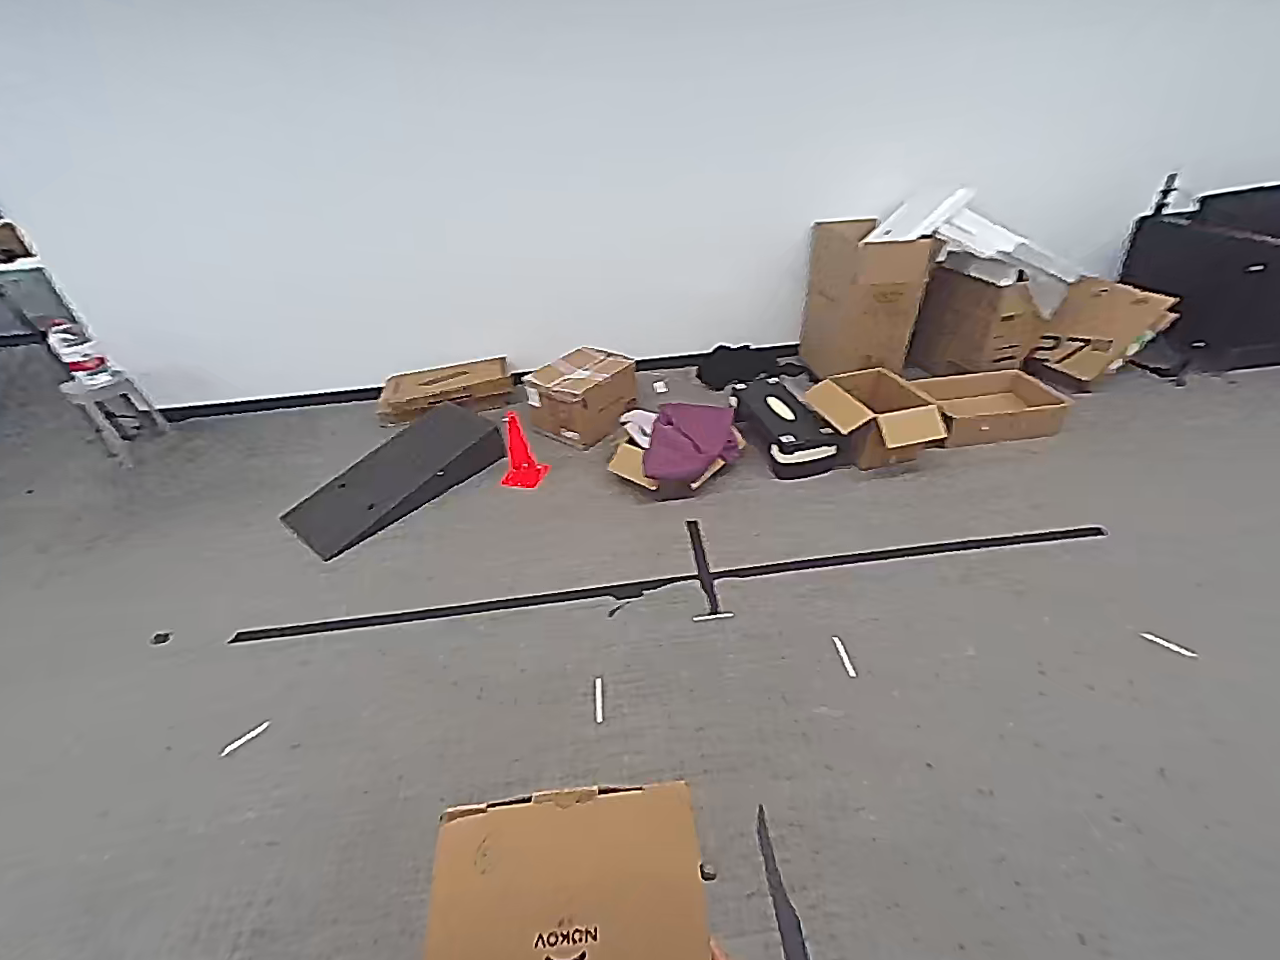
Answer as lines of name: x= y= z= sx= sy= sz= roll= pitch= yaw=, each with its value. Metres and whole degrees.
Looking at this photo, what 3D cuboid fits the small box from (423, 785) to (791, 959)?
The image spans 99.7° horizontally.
small box: x=-0.010 y=0.282 z=0.283 sx=0.168 sy=0.176 sz=0.179 roll=-6 pitch=50 yaw=-1
